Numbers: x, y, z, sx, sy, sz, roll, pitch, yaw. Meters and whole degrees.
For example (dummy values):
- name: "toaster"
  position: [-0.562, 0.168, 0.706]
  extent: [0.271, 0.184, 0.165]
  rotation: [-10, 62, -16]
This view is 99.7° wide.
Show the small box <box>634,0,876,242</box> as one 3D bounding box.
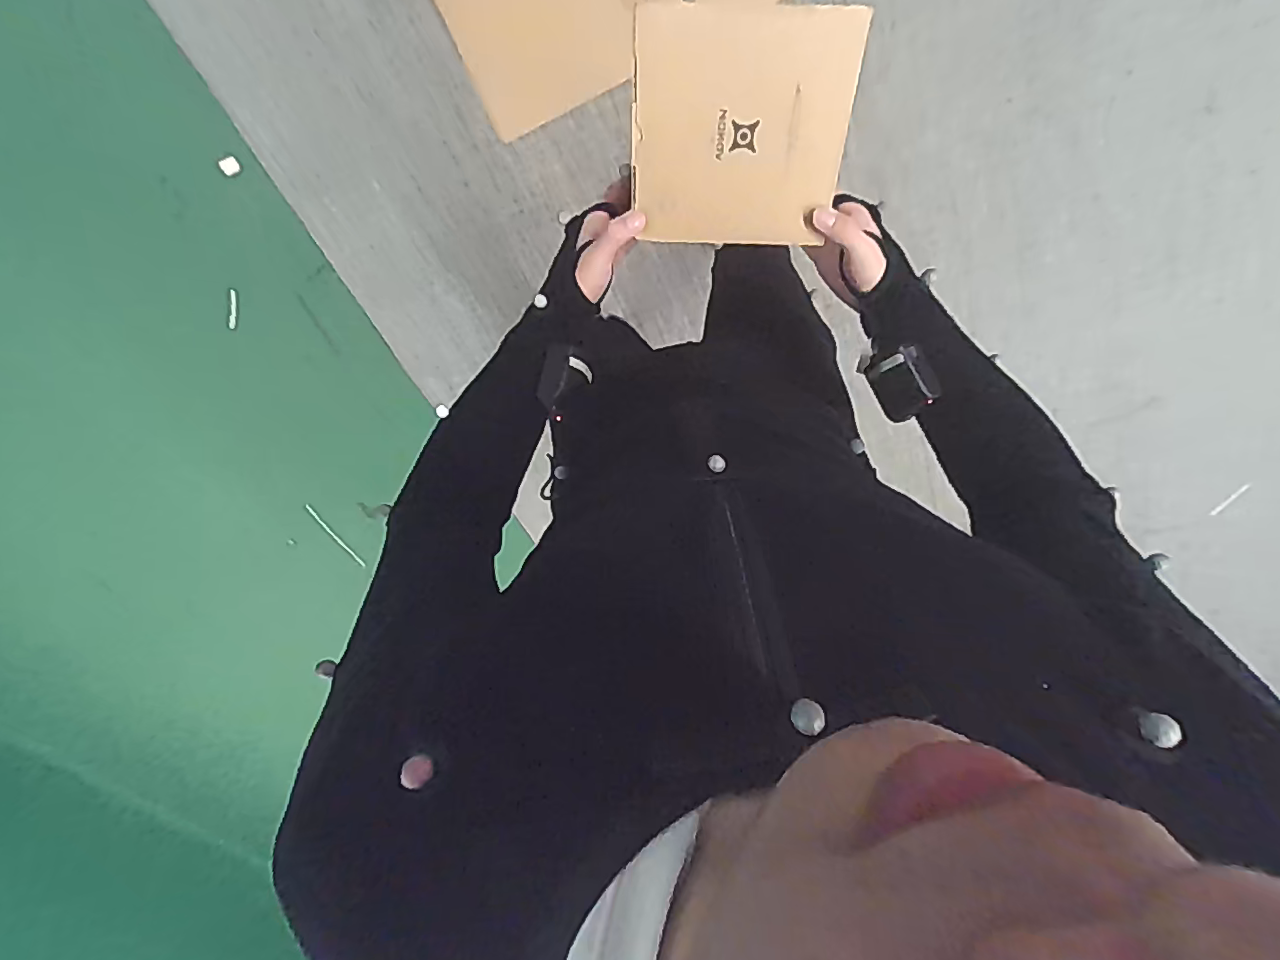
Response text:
- name: "small box"
  position: [0.087, -0.332, 0.502]
  extent: [0.179, 0.176, 0.168]
  rotation: [2, 129, 2]
